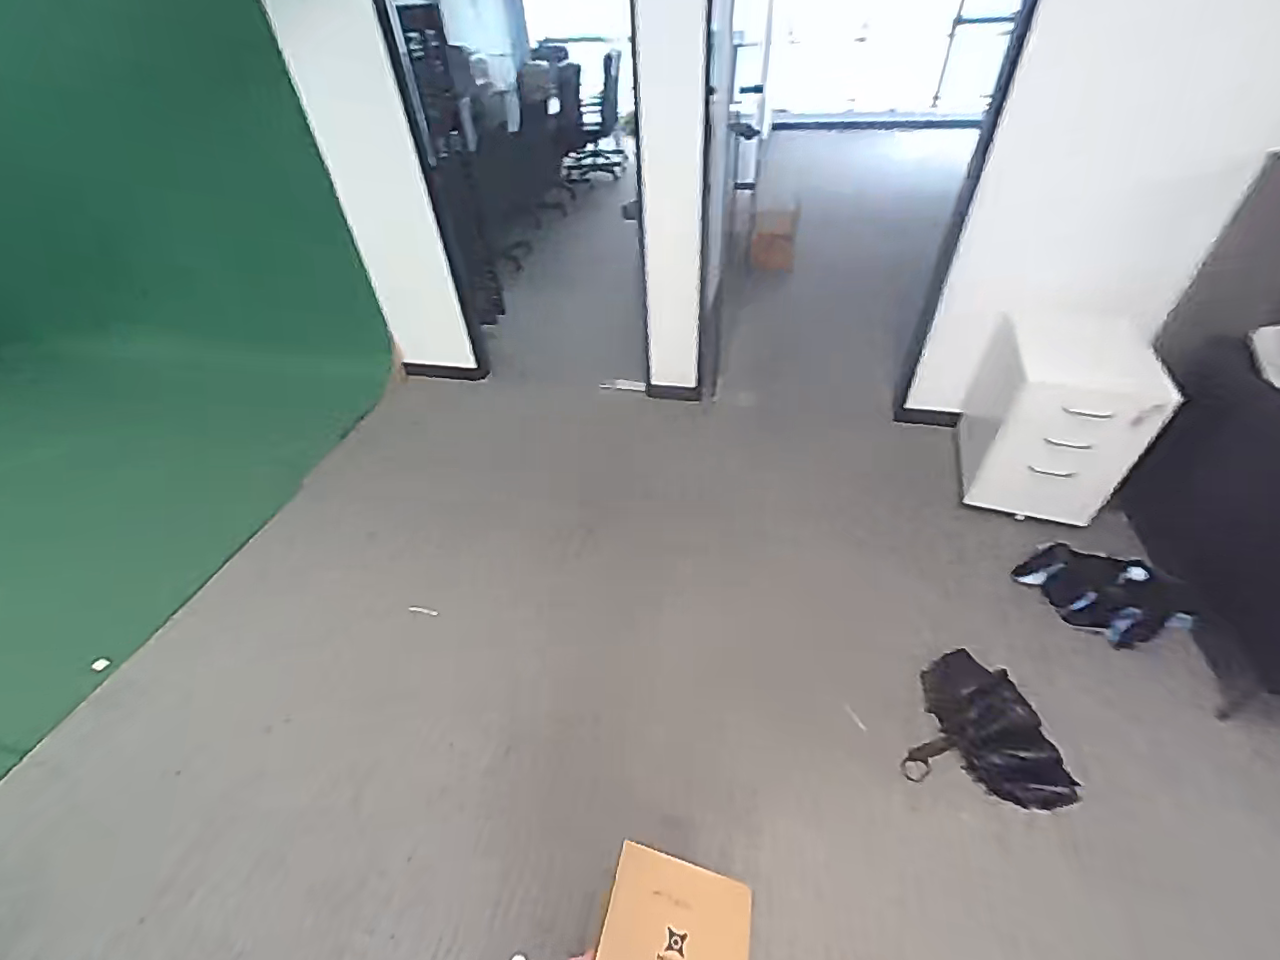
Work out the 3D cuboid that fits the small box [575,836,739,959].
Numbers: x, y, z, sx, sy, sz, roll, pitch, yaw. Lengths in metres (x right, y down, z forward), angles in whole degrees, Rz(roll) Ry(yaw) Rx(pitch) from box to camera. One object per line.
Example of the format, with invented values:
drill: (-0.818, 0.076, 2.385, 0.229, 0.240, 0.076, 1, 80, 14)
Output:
small box: (0.011, 0.576, 0.639, 0.168, 0.176, 0.179, 17, 28, 2)
